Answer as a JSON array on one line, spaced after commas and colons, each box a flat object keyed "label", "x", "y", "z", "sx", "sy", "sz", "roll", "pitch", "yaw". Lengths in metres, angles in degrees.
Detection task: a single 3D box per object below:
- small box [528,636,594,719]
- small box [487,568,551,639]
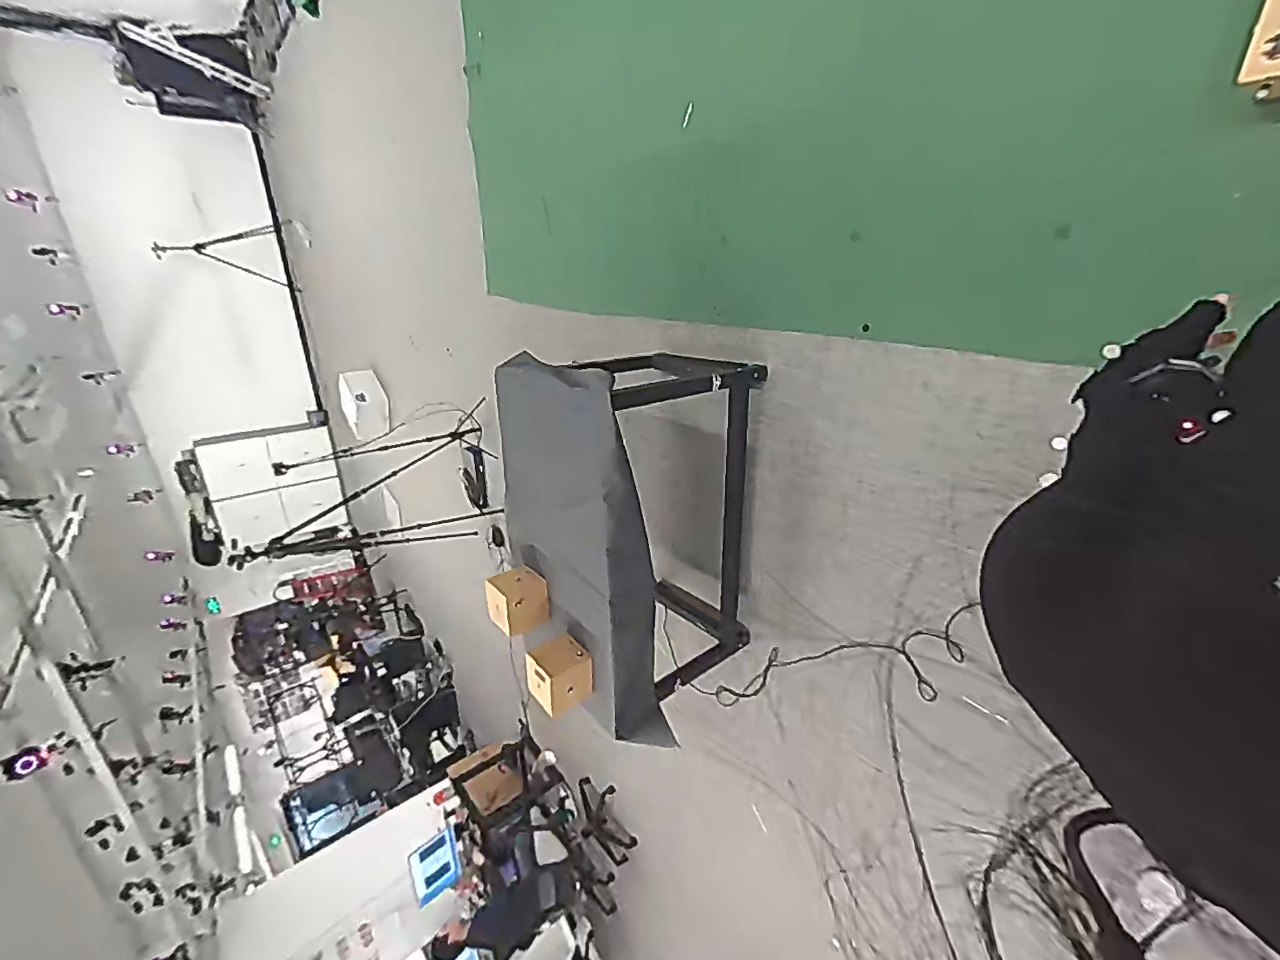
[{"label": "small box", "x": -0.271, "y": 0.674, "z": 1.872, "sx": 0.168, "sy": 0.176, "sz": 0.179, "roll": 26, "pitch": 124, "yaw": 45}, {"label": "small box", "x": -0.446, "y": 0.449, "z": 2.003, "sx": 0.168, "sy": 0.176, "sz": 0.179, "roll": 22, "pitch": 121, "yaw": 45}]
